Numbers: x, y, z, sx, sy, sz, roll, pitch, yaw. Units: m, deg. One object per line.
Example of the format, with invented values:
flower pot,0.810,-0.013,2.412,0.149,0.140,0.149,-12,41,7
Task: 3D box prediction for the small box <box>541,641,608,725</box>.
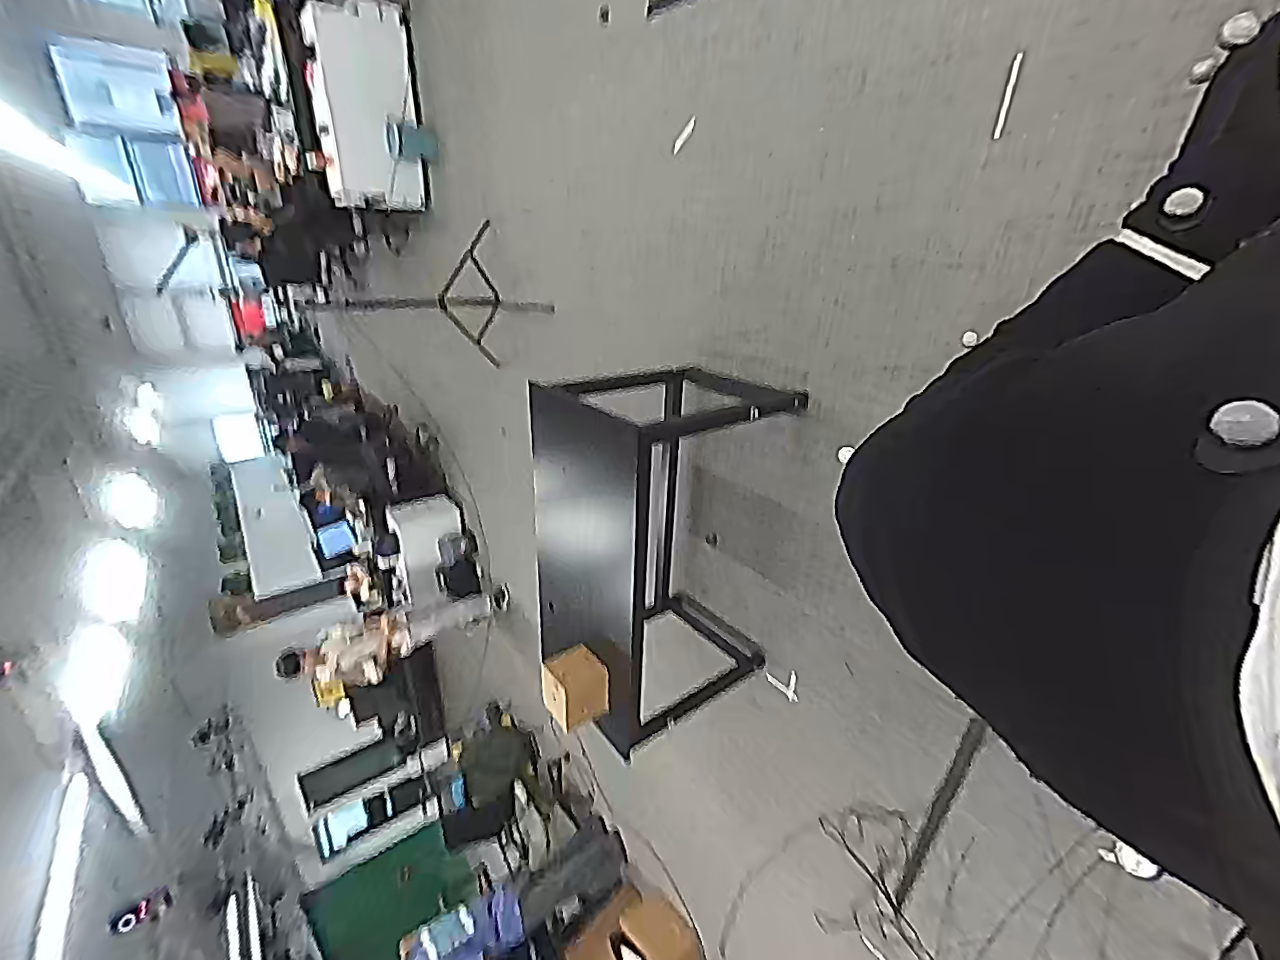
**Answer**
small box,-0.222,0.690,1.856,0.168,0.176,0.179,28,125,47
